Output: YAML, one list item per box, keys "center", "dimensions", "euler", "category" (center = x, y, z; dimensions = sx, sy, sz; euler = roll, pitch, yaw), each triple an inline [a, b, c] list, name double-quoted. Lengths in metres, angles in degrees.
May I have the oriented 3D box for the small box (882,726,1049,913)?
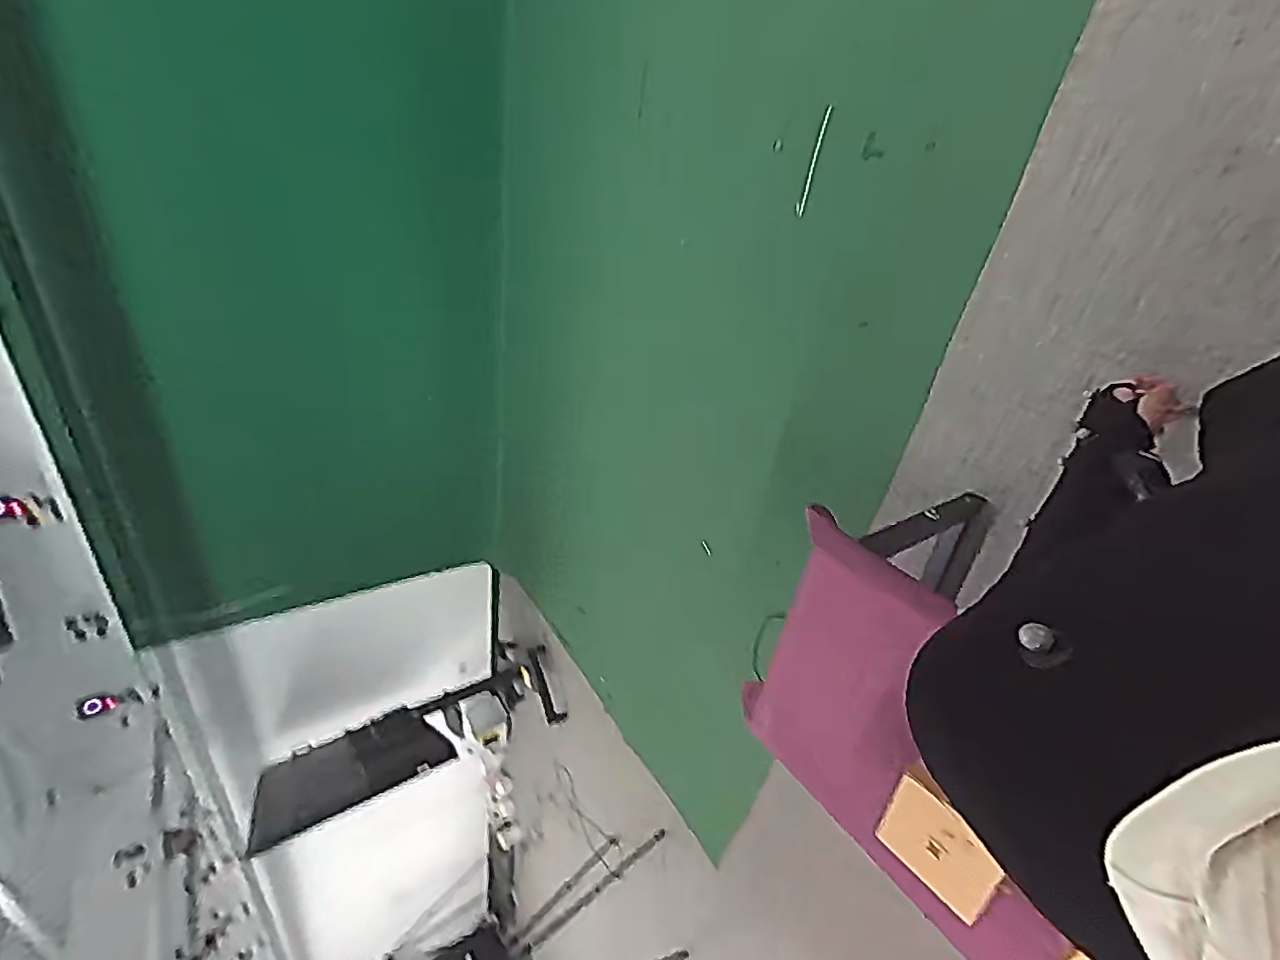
- center: [0.551, 0.564, 0.918]
  dimensions: [0.168, 0.176, 0.179]
  euler: [34, 126, 44]
  category: "small box"

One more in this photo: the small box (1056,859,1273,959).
- center: [0.707, 0.680, 0.739]
  dimensions: [0.168, 0.176, 0.179]
  euler: [35, 127, 44]
  category: "small box"
